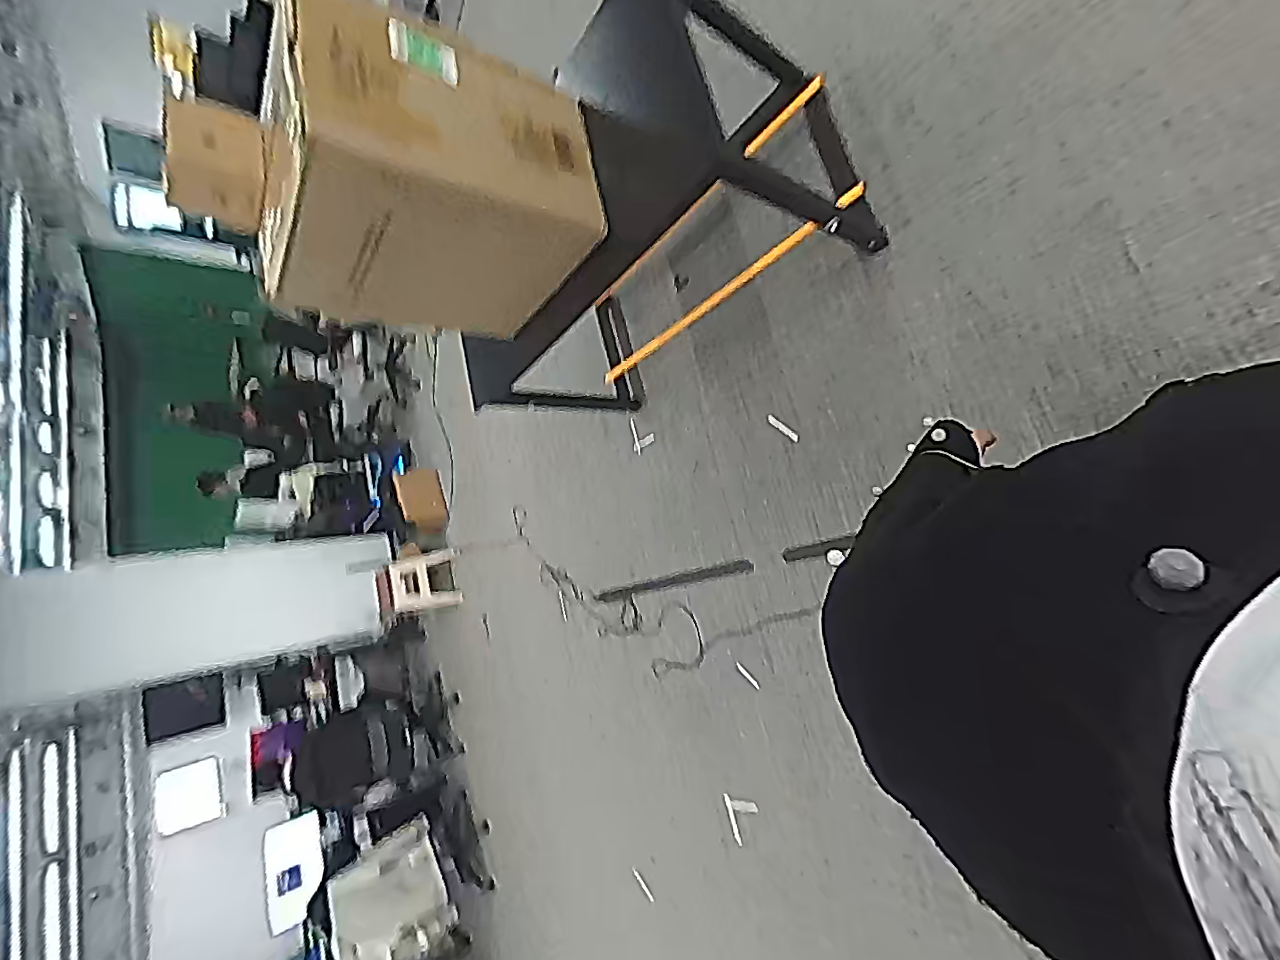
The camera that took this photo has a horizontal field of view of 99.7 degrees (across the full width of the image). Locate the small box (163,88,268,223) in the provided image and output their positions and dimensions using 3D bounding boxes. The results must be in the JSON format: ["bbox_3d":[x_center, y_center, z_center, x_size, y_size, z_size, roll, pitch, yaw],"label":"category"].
[{"bbox_3d":[-0.932,-0.698,1.191,0.168,0.176,0.179,-31,68,45],"label":"small box"}]
